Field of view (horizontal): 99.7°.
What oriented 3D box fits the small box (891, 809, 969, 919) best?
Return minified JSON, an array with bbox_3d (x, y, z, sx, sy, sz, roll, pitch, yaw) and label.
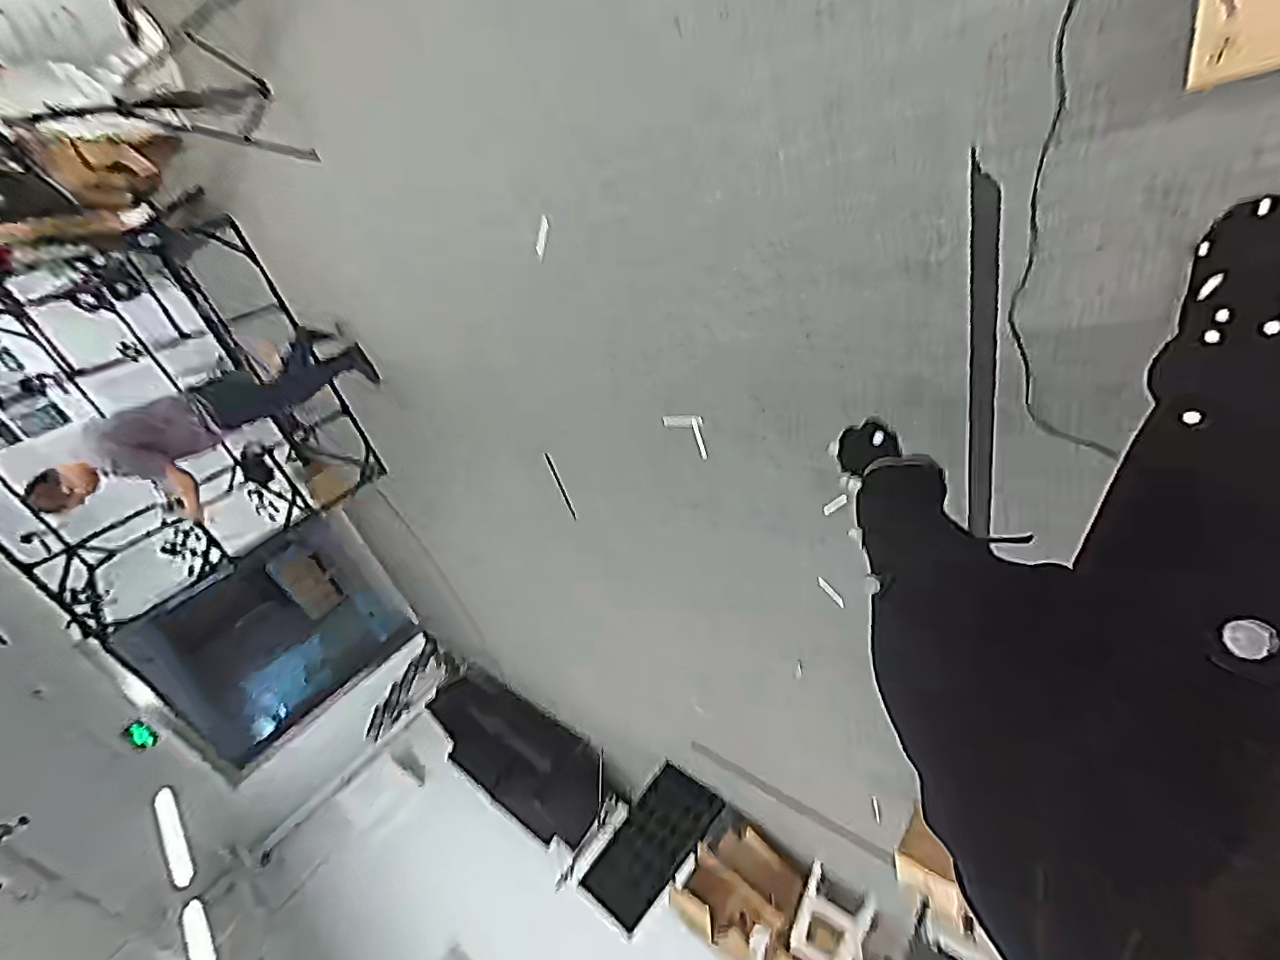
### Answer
[{"bbox_3d":[0.859,1.129,1.601,0.168,0.176,0.179,12,130,41],"label":"small box"}]
